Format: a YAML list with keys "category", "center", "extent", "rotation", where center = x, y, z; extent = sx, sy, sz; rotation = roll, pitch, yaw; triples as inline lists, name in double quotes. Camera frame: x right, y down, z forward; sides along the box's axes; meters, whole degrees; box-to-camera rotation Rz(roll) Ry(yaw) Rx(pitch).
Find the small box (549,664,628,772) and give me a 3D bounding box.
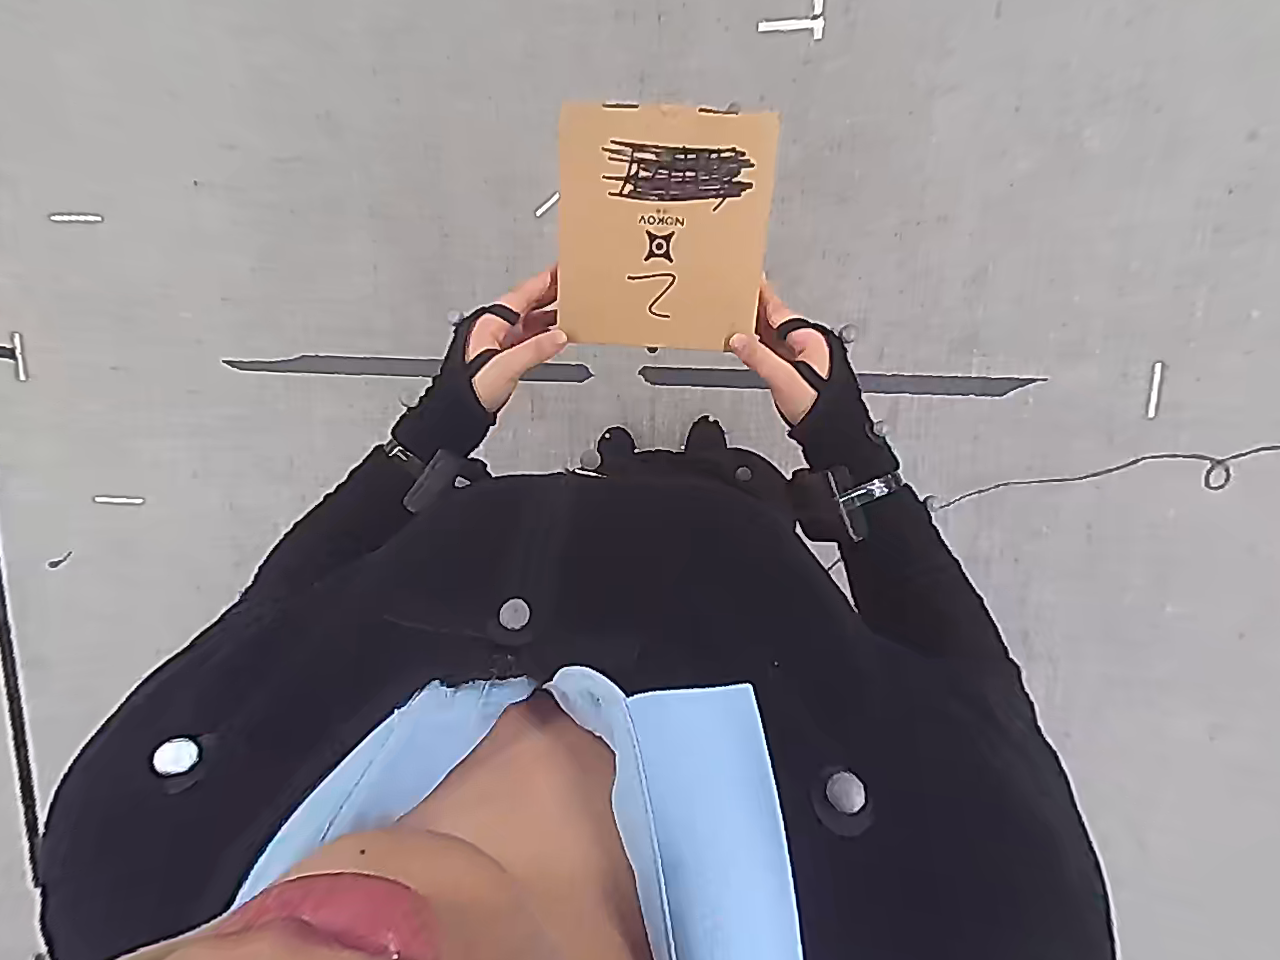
- category: "small box"
  center: [-0.118, 0.564, 1.297]
  extent: [0.168, 0.176, 0.179]
  rotation: [0, 97, 4]
